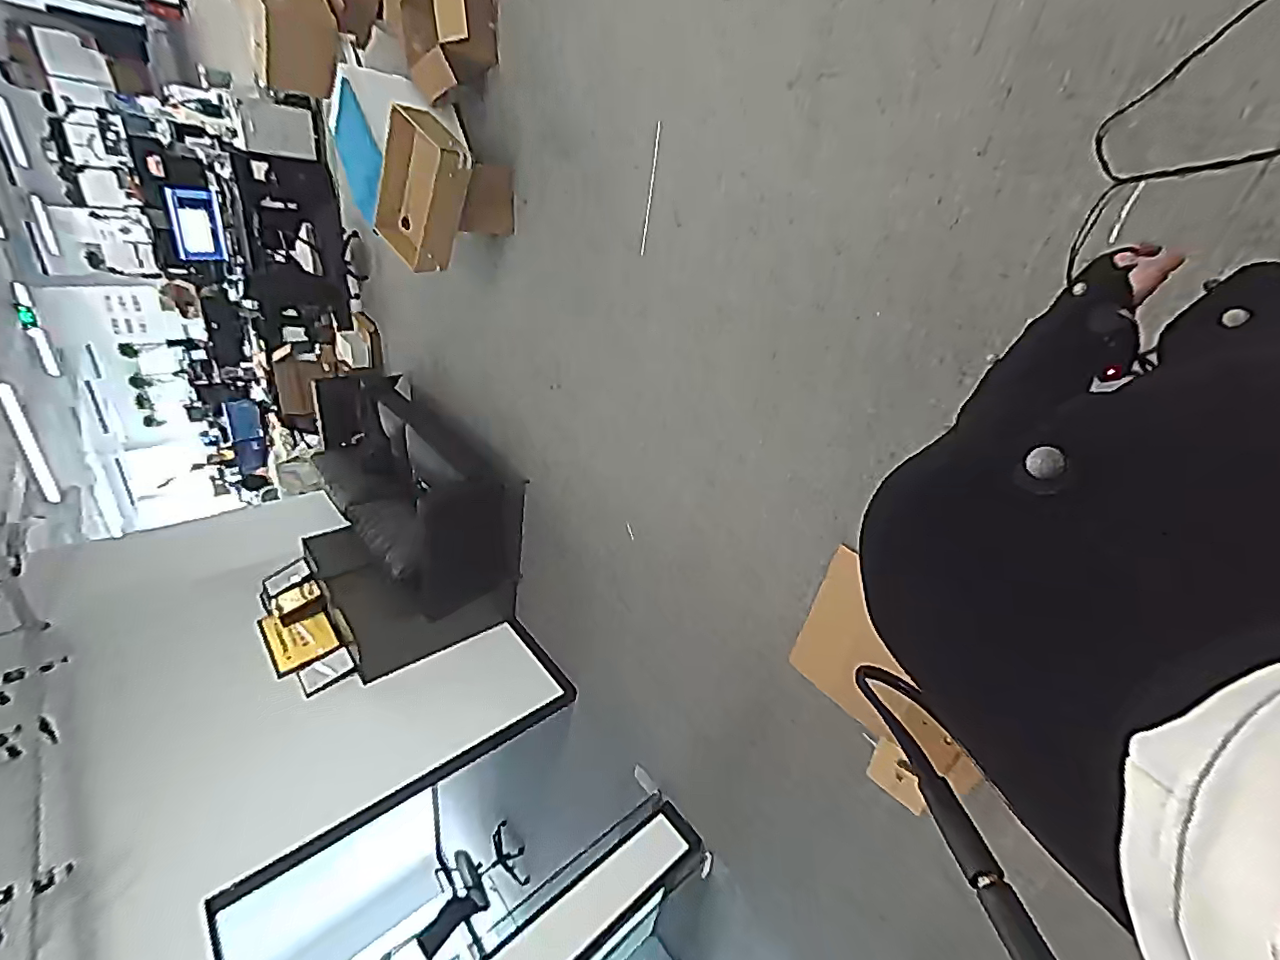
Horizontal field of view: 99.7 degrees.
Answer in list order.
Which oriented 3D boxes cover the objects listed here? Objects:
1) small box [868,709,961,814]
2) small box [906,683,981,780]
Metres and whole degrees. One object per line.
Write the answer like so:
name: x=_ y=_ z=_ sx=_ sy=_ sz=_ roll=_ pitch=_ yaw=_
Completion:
small box: x=0.803 y=0.812 z=1.575 sx=0.168 sy=0.176 sz=0.179 roll=32 pitch=127 yaw=39
small box: x=0.925 y=0.773 z=1.677 sx=0.168 sy=0.176 sz=0.179 roll=29 pitch=124 yaw=41
